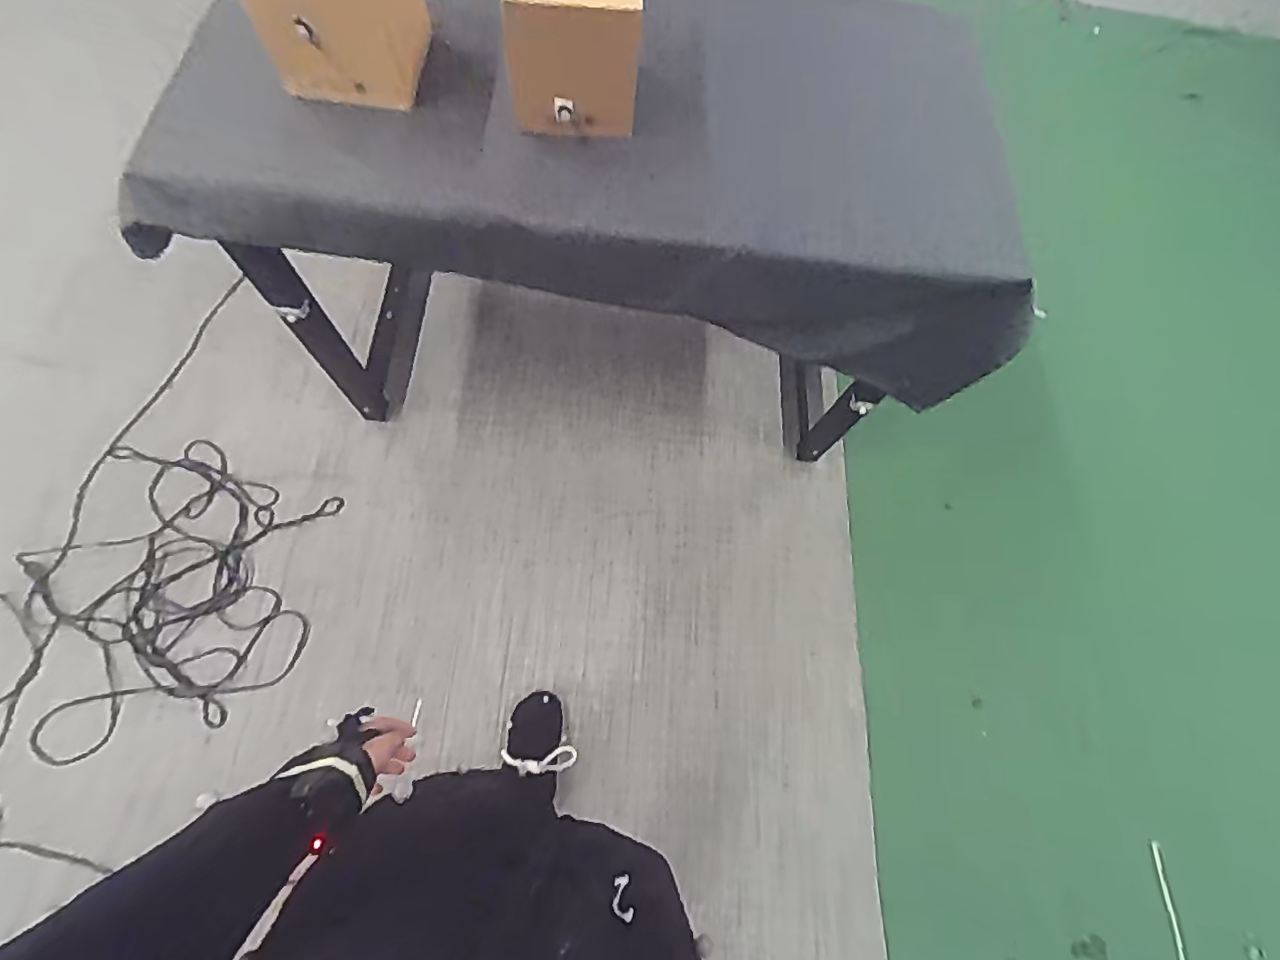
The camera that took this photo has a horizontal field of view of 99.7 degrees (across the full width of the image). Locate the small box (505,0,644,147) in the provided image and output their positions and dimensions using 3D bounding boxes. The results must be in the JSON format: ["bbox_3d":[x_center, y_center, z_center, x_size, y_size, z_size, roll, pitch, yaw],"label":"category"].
[{"bbox_3d":[-0.089,-0.593,0.734,0.168,0.176,0.179,-2,70,-7],"label":"small box"}]

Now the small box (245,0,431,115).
[{"bbox_3d":[-0.386,-0.619,0.707,0.168,0.176,0.179,4,68,-6],"label":"small box"}]
